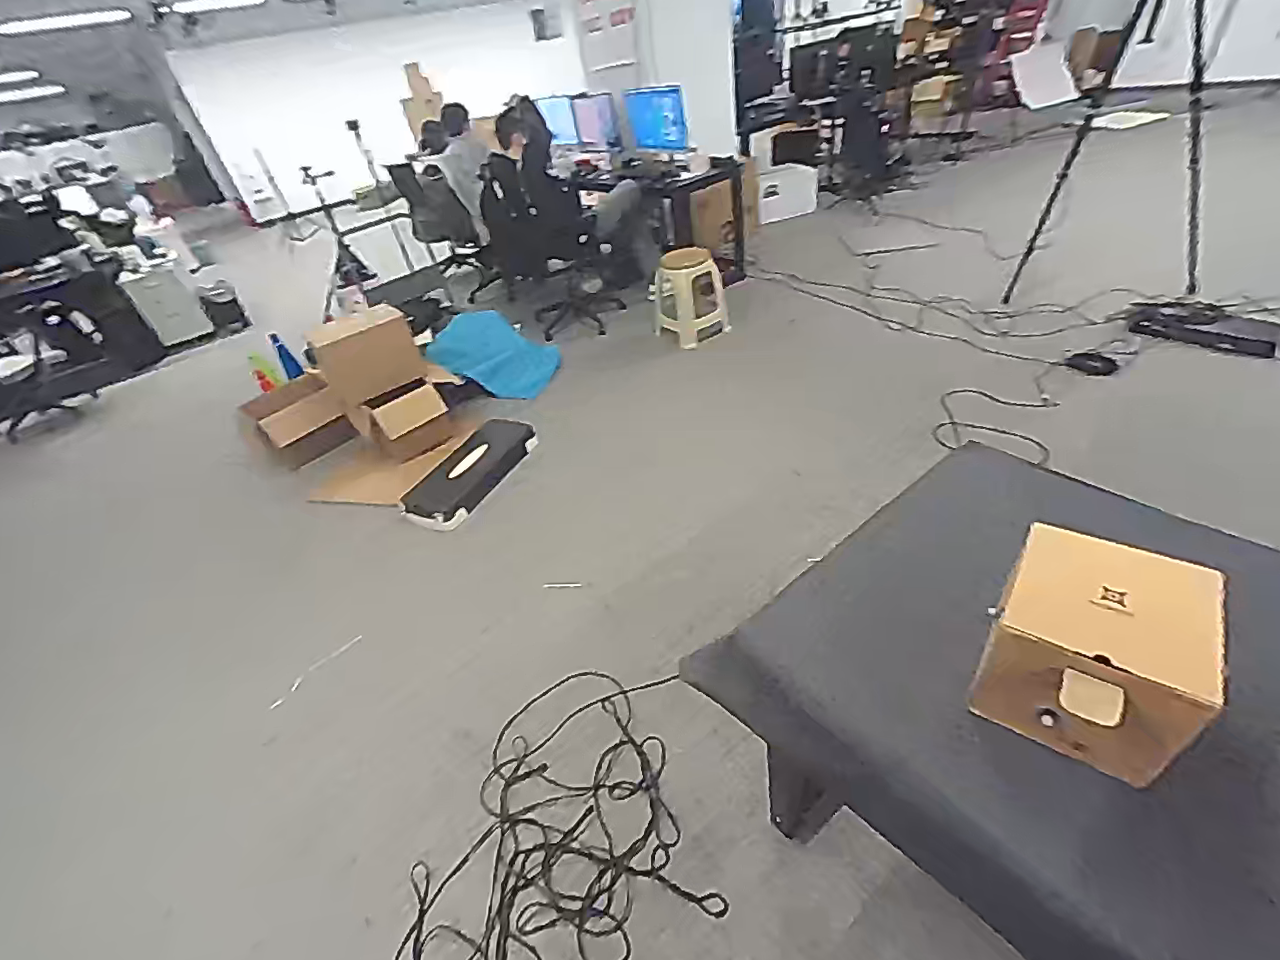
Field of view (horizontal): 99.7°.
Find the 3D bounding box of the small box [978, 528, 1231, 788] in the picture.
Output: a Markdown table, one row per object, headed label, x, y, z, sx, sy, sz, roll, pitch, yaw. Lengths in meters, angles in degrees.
| label | x | y | z | sx | sy | sz | roll | pitch | yaw |
| --- | --- | --- | --- | --- | --- | --- | --- | --- | --- |
| small box | 0.499 | 0.190 | 0.598 | 0.168 | 0.176 | 0.179 | 20 | 47 | 34 |
